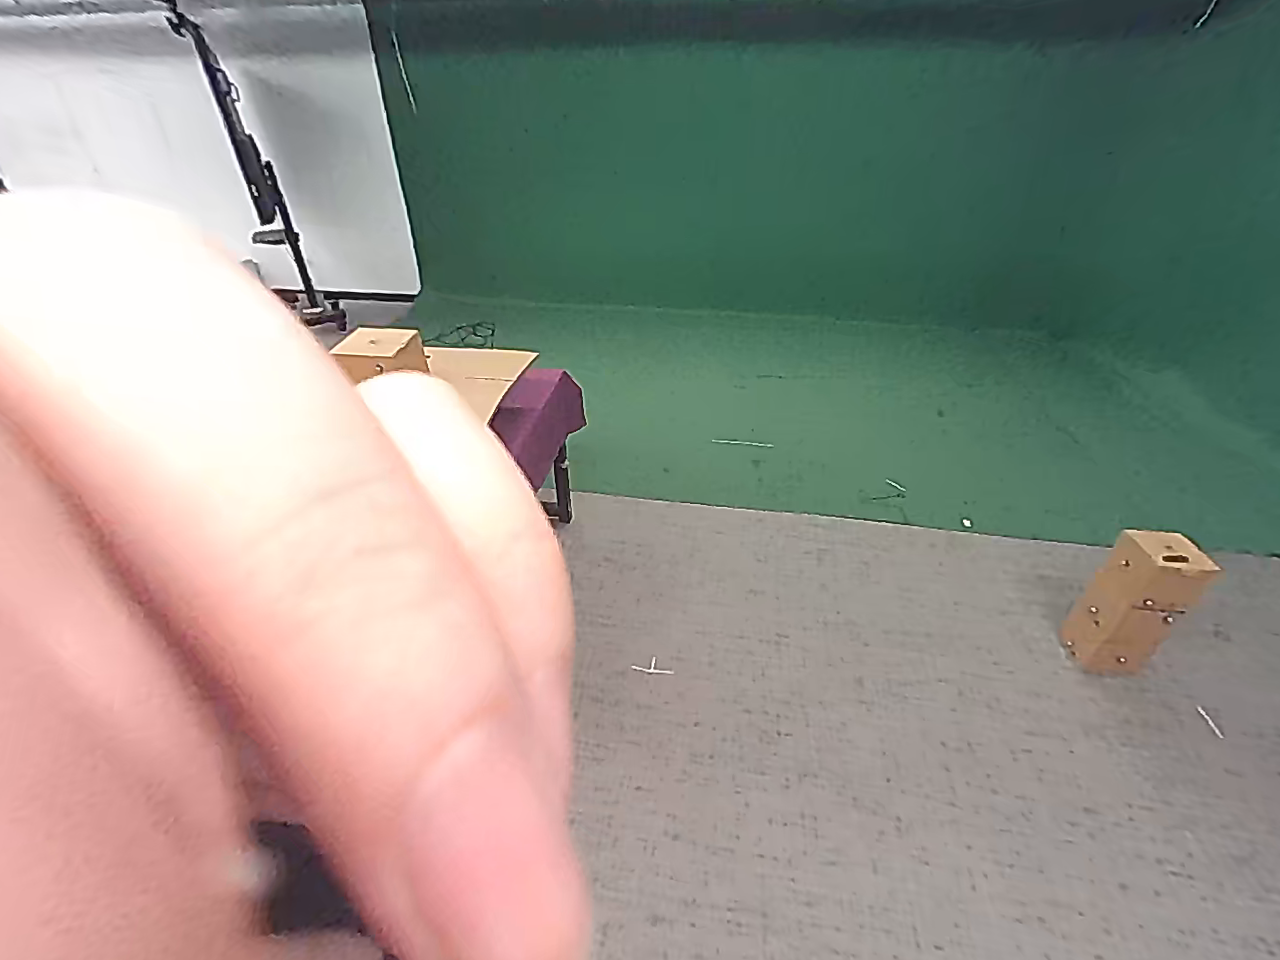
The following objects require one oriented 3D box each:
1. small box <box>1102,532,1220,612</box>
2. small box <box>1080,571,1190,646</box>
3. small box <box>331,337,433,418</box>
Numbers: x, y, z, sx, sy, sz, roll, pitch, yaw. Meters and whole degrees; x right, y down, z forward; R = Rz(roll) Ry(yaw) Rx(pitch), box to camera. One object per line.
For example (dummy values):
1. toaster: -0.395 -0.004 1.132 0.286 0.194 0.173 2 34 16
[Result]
1. small box: 1.580 0.282 1.653 0.168 0.176 0.179 4 33 7
2. small box: 1.588 0.416 1.748 0.179 0.176 0.168 2 32 6
3. small box: -0.707 -0.284 1.502 0.179 0.176 0.168 4 39 5
